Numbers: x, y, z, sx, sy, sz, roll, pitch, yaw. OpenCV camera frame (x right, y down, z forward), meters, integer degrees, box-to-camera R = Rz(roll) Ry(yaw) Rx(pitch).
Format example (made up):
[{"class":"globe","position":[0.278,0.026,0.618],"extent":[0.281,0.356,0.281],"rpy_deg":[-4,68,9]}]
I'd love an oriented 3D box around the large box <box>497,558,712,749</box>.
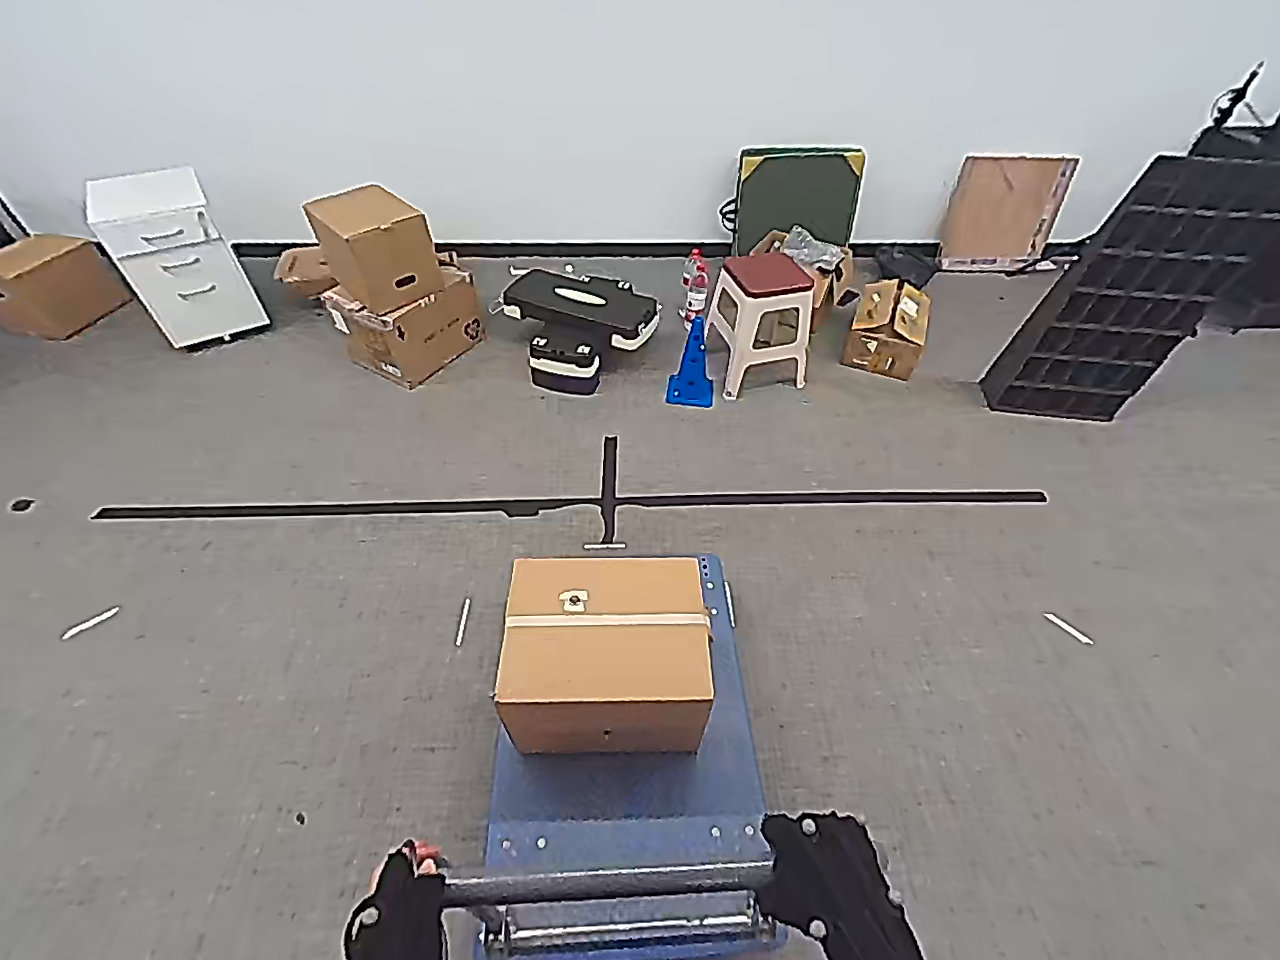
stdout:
[{"class":"large box","position":[-0.069,0.390,1.202],"extent":[0.408,0.320,0.320],"rpy_deg":[-1,47,-1]}]
